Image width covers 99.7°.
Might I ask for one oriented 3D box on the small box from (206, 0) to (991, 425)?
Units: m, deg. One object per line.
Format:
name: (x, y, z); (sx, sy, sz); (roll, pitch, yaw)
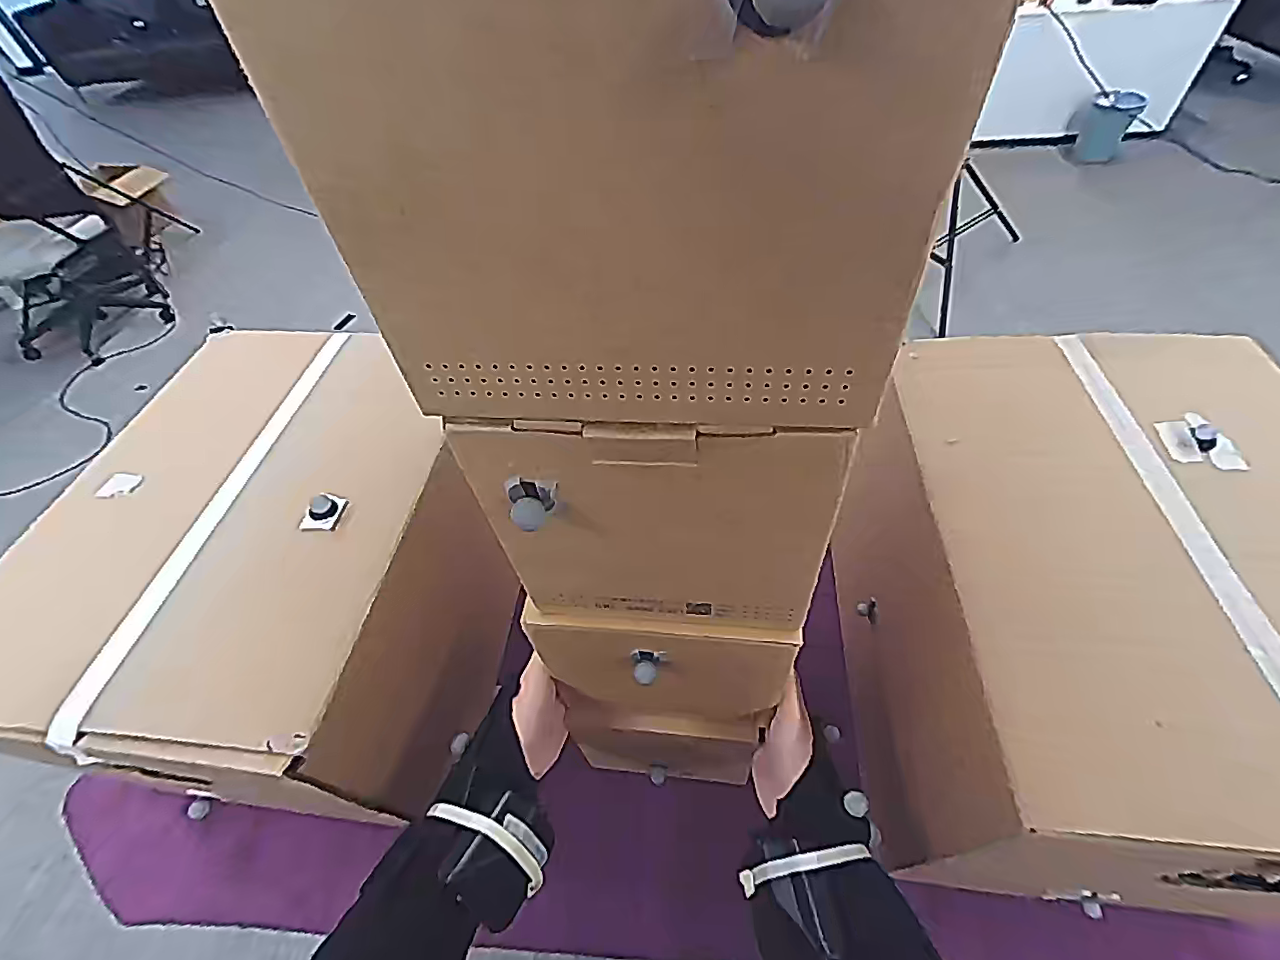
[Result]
small box: (0.001, -0.134, 0.197); (0.179, 0.176, 0.168); (2, 49, 9)

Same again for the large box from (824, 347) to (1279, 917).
large box: (0.372, 0.128, 0.494); (0.320, 0.320, 0.408); (2, 50, 7)
